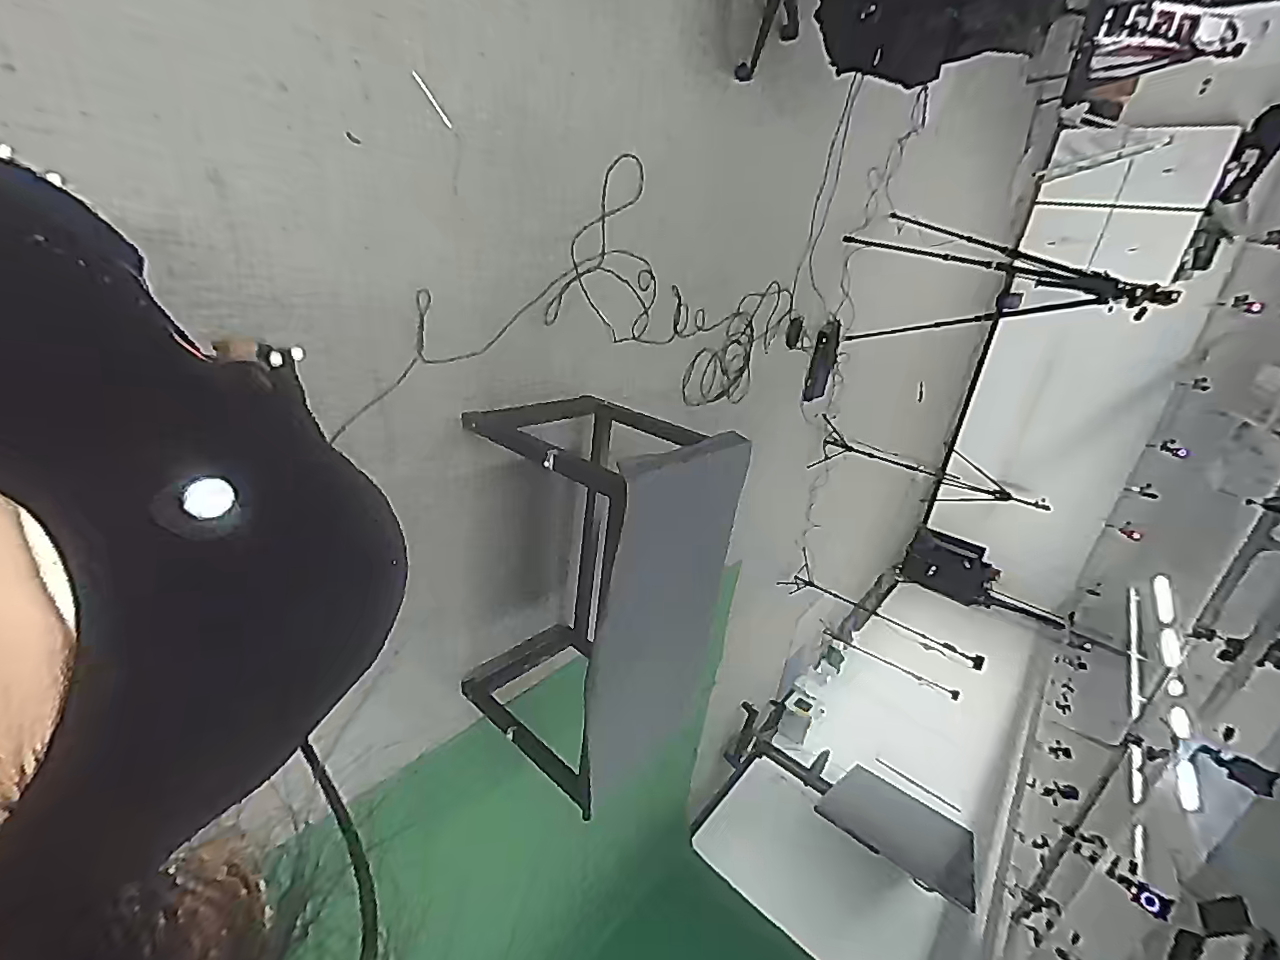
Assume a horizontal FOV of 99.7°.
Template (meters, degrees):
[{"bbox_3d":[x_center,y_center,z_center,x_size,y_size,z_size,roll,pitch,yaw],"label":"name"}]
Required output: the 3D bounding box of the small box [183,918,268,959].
[{"bbox_3d":[-1.092,1.322,1.416,0.179,0.176,0.168,-15,121,-48],"label":"small box"}]
